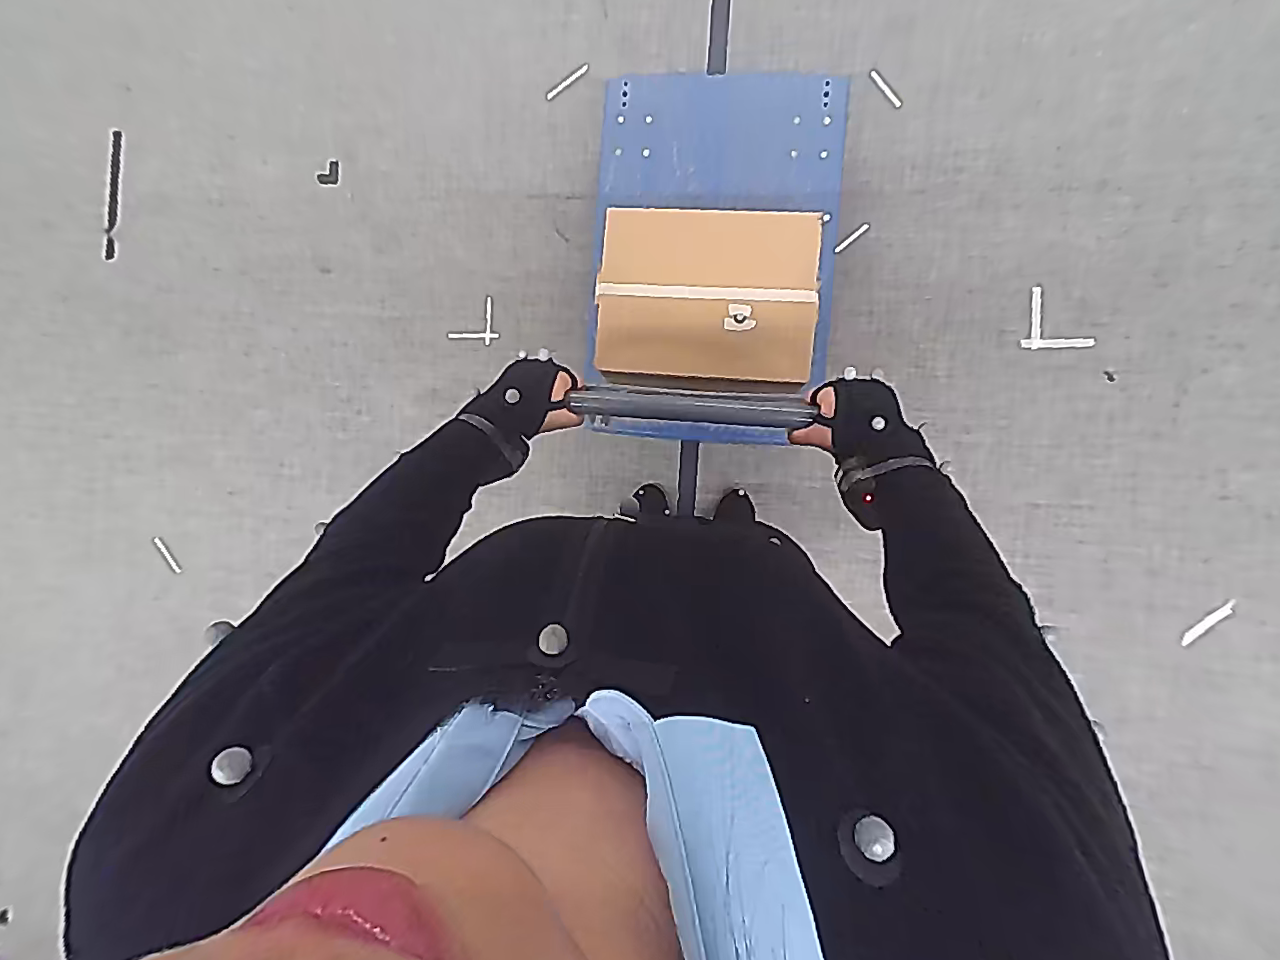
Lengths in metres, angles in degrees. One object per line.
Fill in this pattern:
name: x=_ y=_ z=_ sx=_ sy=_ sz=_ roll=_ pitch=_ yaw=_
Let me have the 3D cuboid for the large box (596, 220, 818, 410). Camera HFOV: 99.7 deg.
large box: x=0.133 y=-0.329 z=1.156 sx=0.408 sy=0.320 sz=0.320 roll=4 pitch=91 yaw=6
